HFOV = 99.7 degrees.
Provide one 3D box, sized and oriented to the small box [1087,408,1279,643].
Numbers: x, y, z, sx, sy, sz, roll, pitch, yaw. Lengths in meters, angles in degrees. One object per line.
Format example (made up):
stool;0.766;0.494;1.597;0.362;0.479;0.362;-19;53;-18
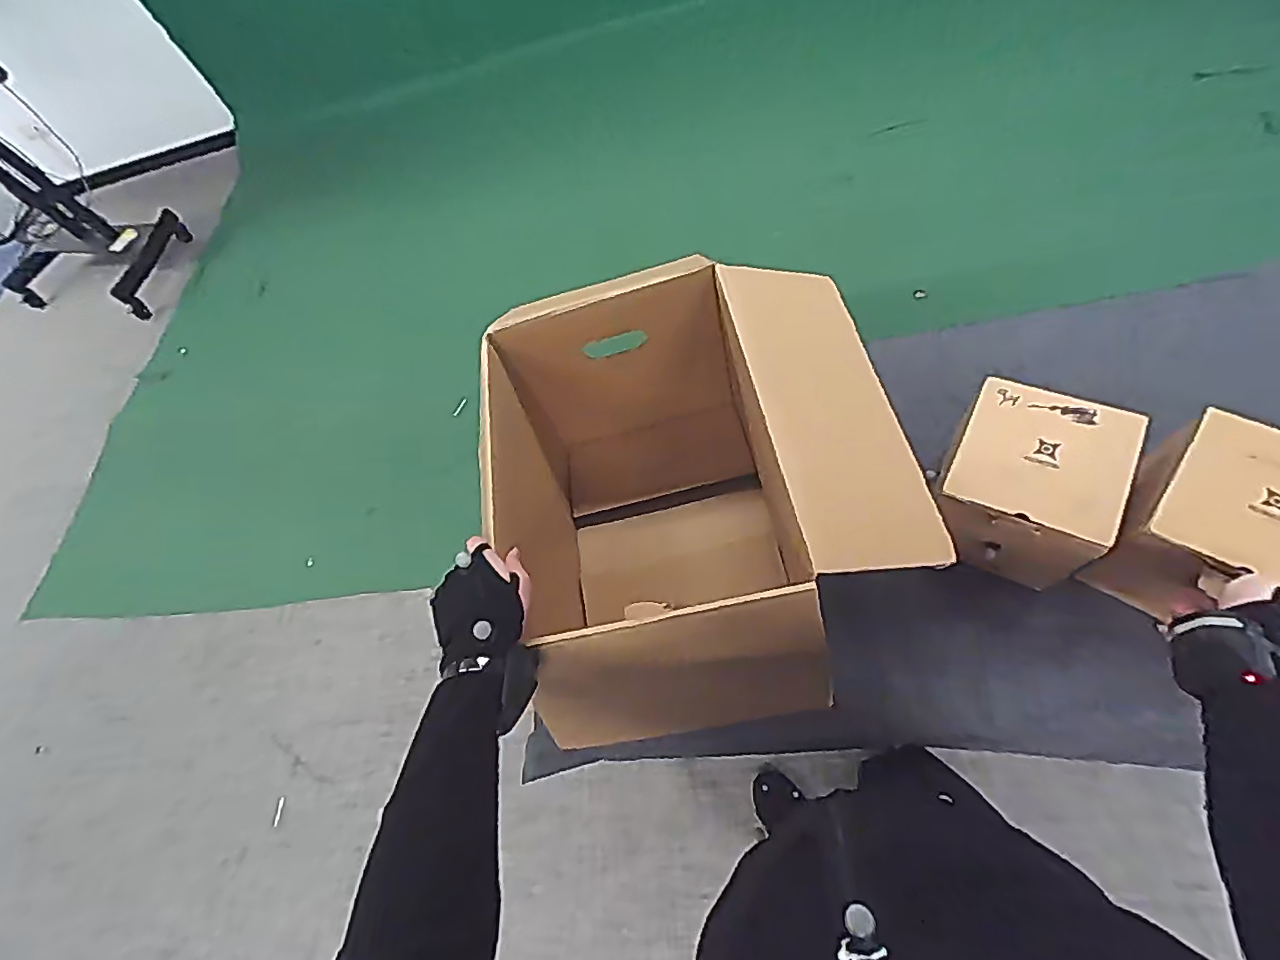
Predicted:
small box;0.653;0.058;0.607;0.168;0.176;0.179;31;75;25
